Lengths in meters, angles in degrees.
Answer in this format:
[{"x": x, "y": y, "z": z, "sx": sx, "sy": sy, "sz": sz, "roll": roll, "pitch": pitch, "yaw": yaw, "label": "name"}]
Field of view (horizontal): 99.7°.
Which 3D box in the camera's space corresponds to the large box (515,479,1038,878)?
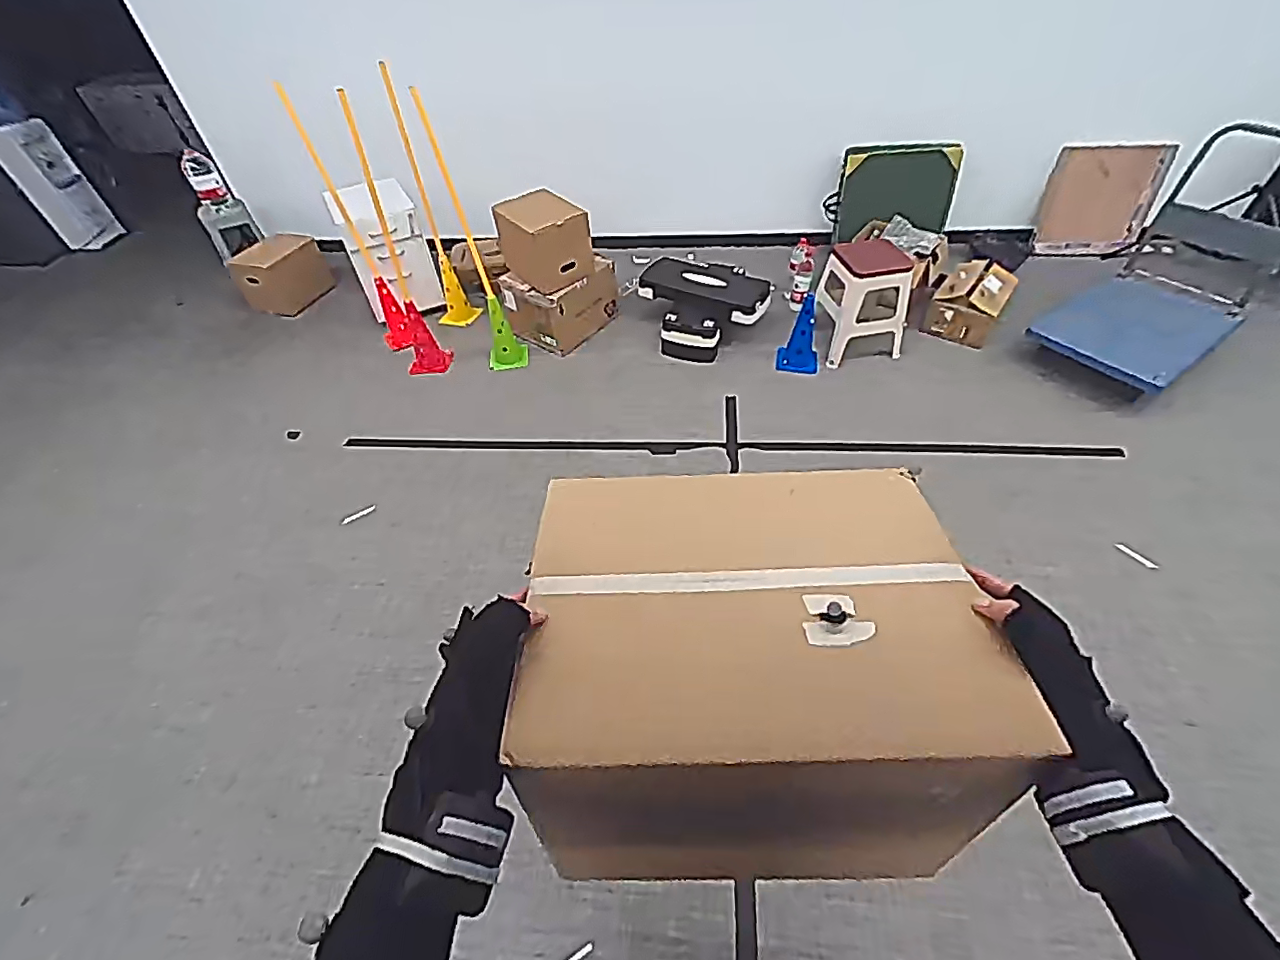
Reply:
[{"x": 0.103, "y": 0.218, "z": 0.611, "sx": 0.408, "sy": 0.320, "sz": 0.320, "roll": -2, "pitch": 41, "yaw": 1, "label": "large box"}]
